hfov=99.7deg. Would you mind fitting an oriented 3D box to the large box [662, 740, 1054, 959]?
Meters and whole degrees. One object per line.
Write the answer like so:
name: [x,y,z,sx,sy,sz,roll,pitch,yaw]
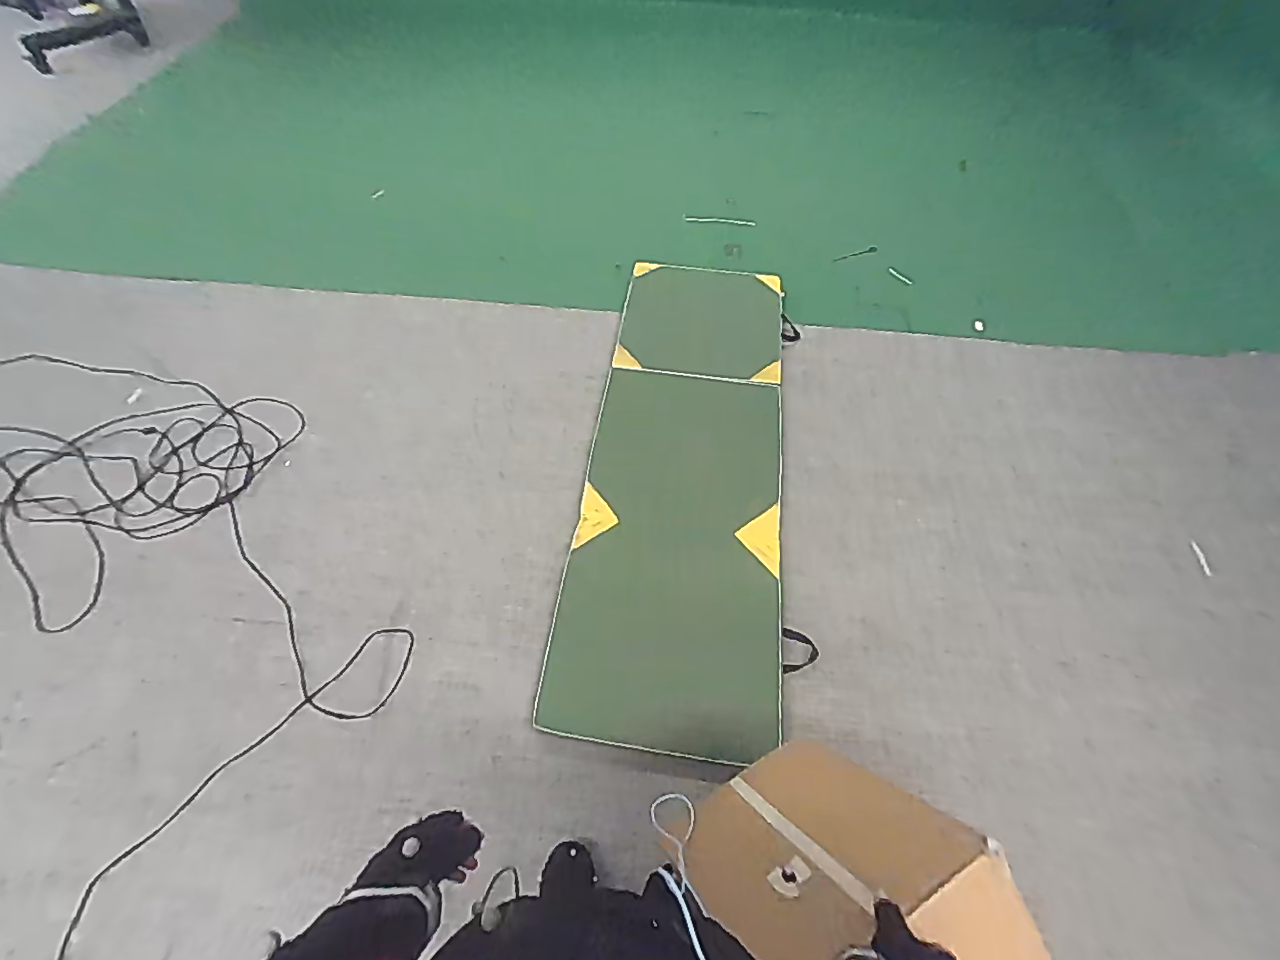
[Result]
large box: [0.280,0.629,0.742,0.320,0.408,0.320,-24,87,-18]
